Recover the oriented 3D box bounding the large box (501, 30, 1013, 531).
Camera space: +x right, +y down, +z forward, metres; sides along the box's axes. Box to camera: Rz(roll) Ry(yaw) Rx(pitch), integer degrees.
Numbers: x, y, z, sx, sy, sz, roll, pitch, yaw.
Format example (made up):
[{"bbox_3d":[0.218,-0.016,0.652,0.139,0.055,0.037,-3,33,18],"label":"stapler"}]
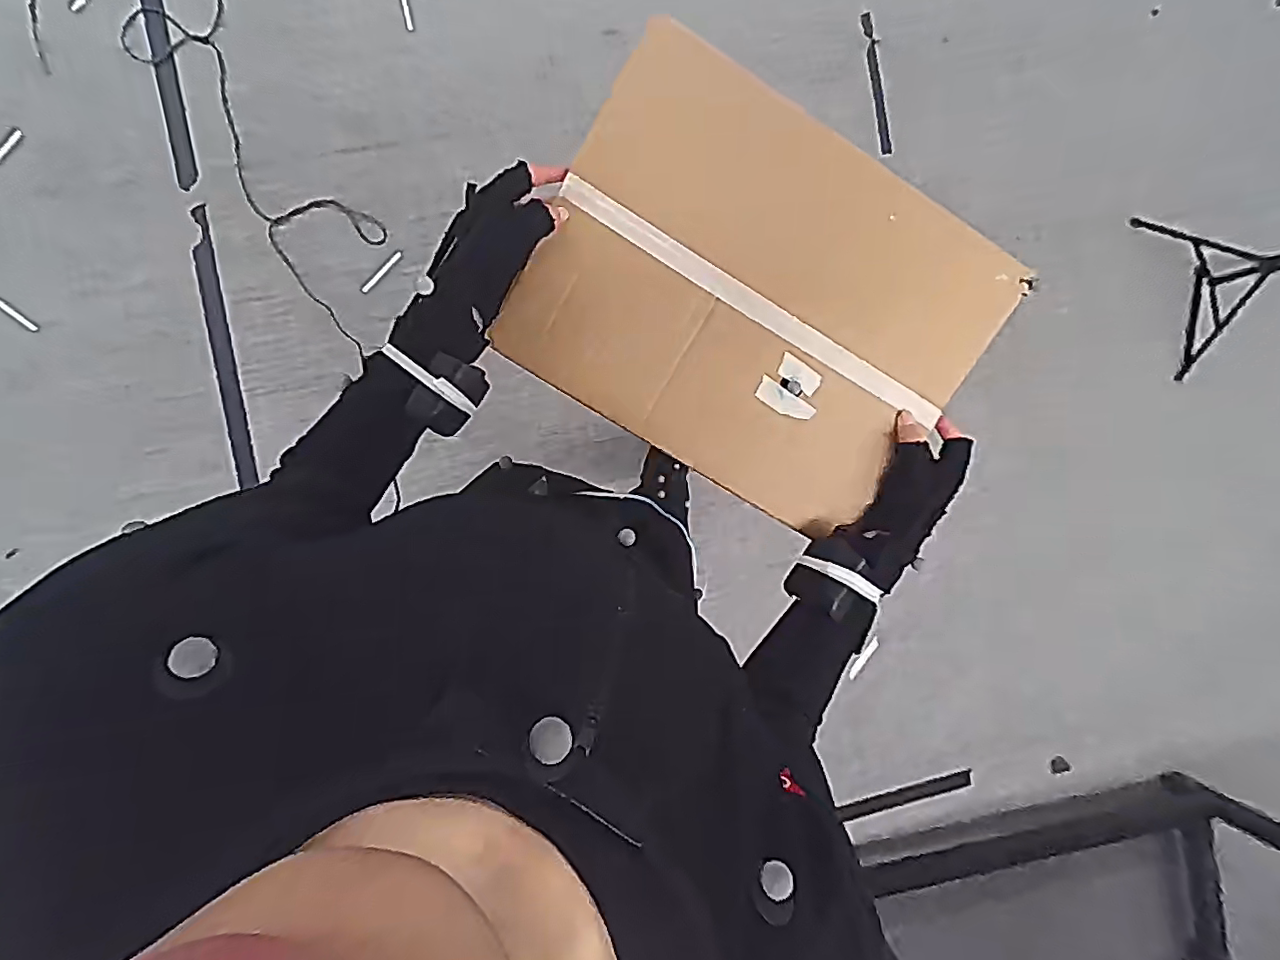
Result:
[{"bbox_3d":[0.105,-0.198,0.659,0.408,0.320,0.320,30,100,-7],"label":"large box"}]
